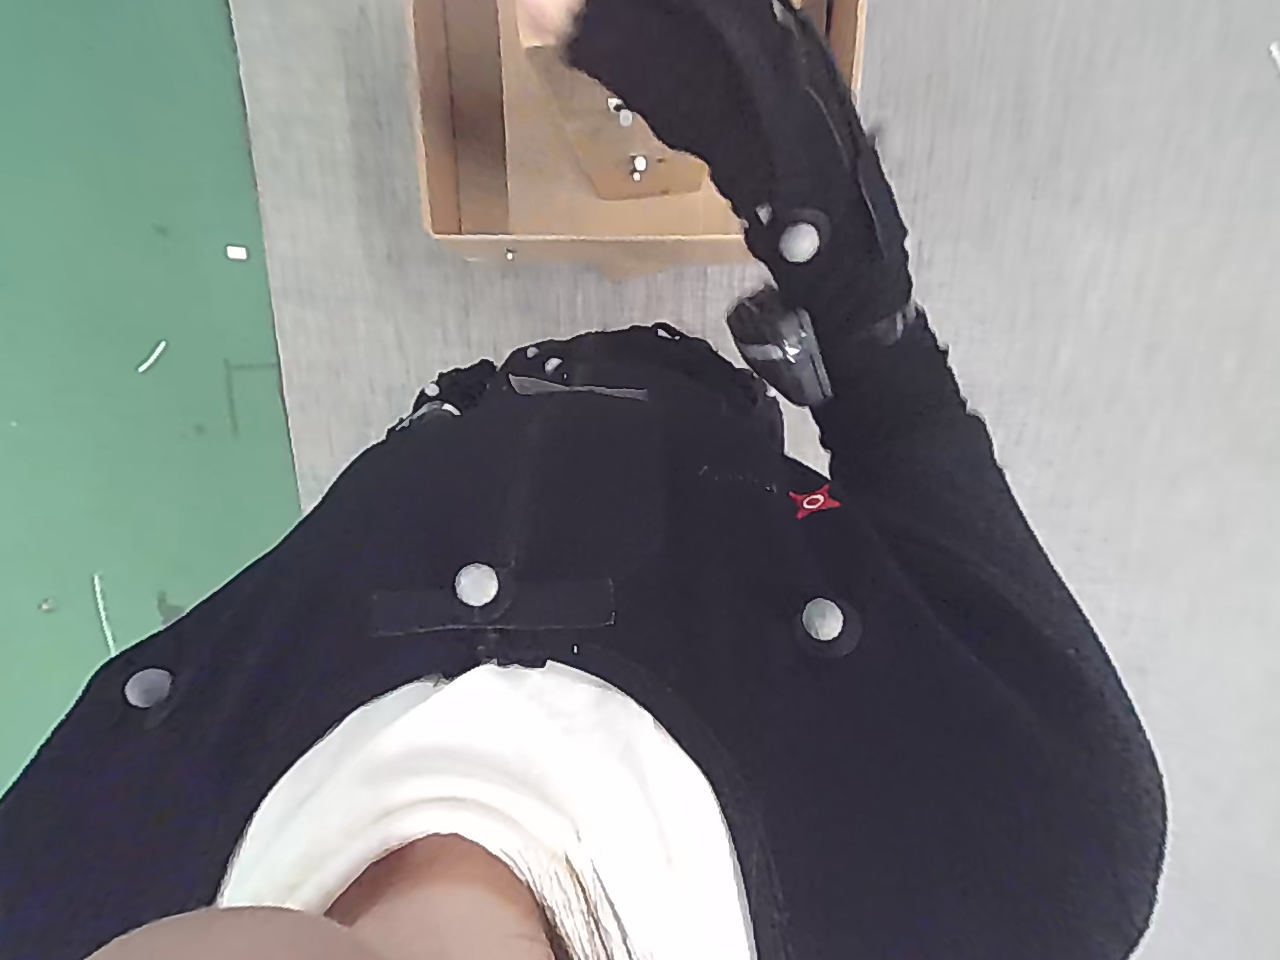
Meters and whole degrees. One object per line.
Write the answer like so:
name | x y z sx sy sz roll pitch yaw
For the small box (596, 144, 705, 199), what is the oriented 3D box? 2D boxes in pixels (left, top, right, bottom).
small box | 0.008 -0.541 0.800 0.168 0.176 0.179 -3 103 6
